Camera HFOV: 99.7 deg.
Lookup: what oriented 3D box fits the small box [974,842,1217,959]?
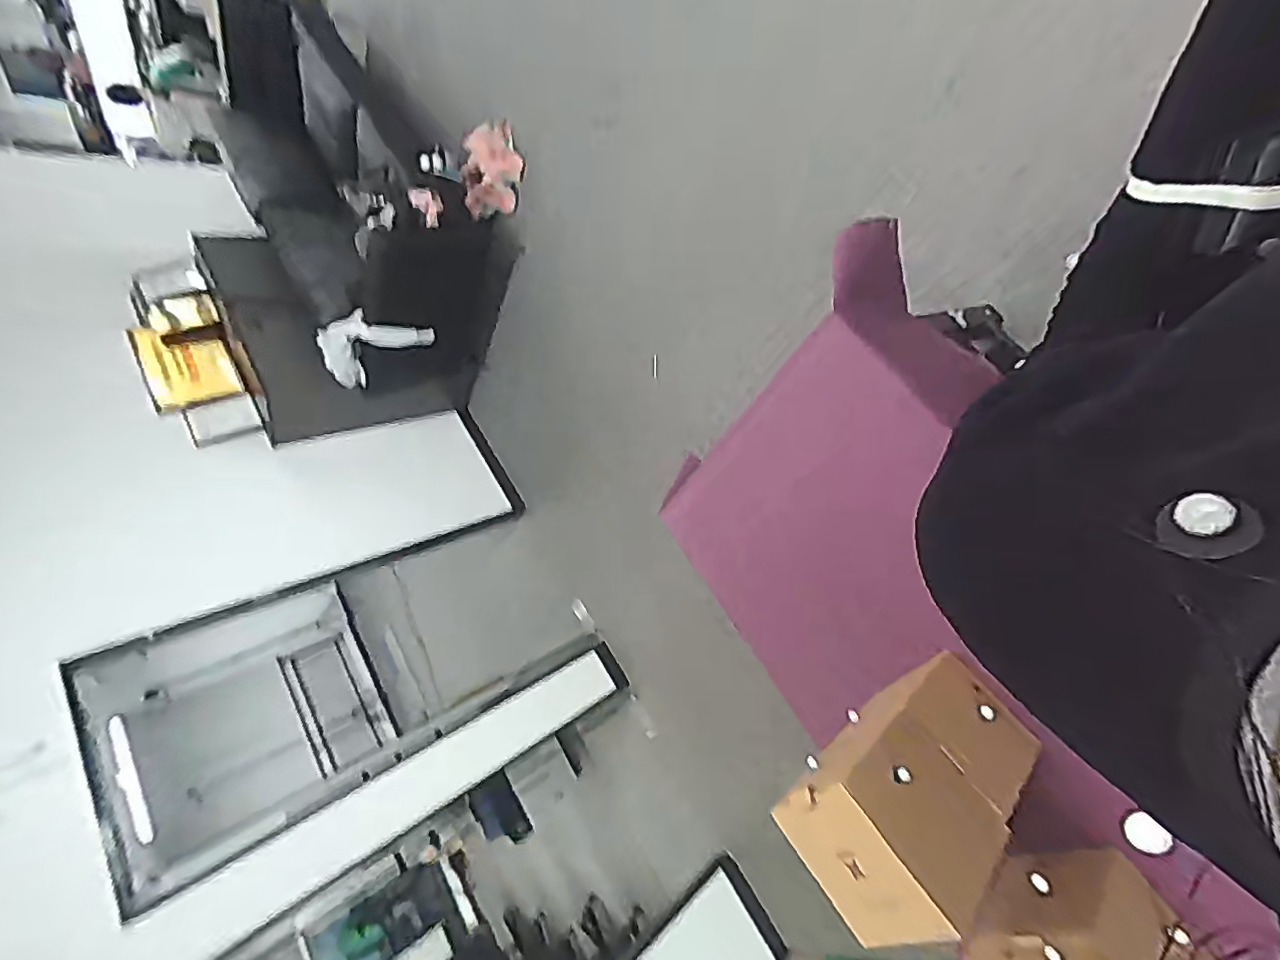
[{"bbox_3d":[0.600,0.615,0.716,0.179,0.176,0.168,54,139,20],"label":"small box"}]

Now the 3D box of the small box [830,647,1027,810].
[{"bbox_3d":[0.433,0.387,0.814,0.168,0.176,0.179,49,136,23],"label":"small box"}]

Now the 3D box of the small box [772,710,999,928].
[{"bbox_3d":[0.317,0.430,0.708,0.179,0.176,0.168,51,138,21],"label":"small box"}]
